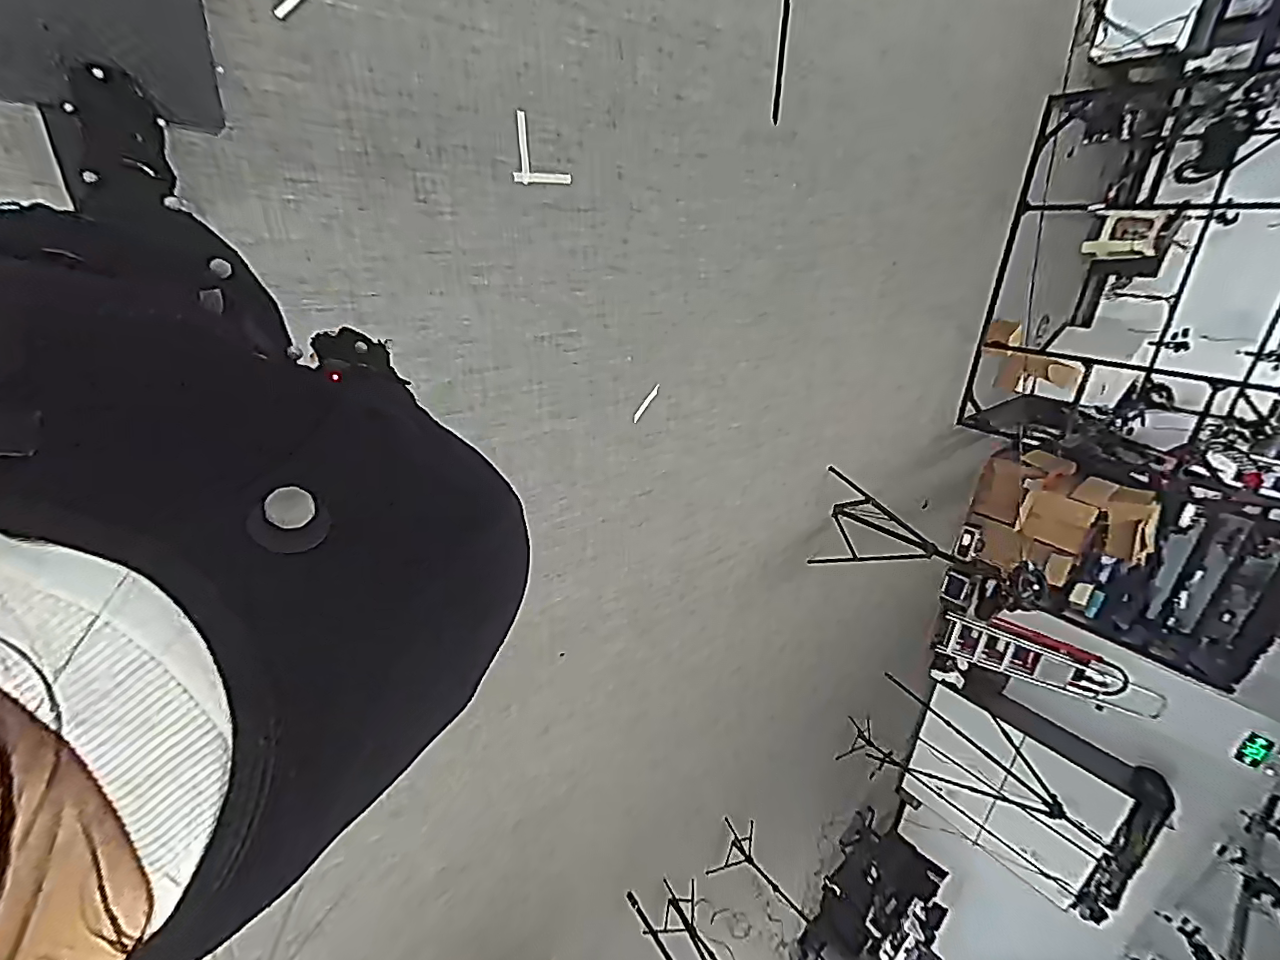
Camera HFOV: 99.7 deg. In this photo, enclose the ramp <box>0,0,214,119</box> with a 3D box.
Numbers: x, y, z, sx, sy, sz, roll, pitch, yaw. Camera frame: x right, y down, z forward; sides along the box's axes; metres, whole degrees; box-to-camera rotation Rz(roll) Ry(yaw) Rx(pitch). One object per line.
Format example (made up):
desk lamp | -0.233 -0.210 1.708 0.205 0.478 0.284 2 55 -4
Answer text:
ramp | -0.894 -1.043 0.618 0.509 0.206 0.991 -17 122 -37
